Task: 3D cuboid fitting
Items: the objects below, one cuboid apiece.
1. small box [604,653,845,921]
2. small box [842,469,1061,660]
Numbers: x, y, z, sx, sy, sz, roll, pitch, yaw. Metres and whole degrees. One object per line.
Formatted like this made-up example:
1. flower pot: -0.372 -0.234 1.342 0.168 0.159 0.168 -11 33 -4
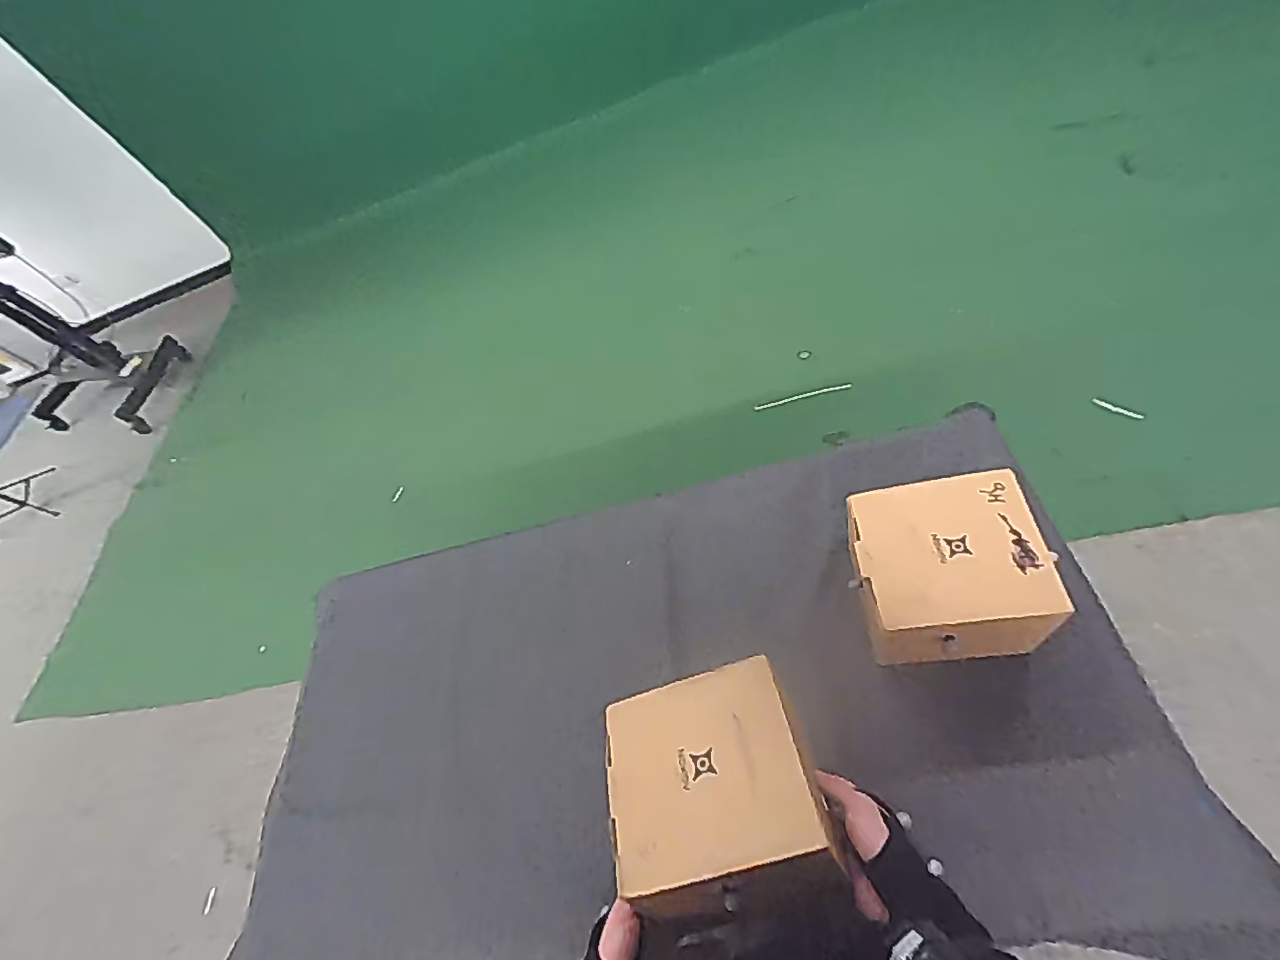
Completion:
1. small box: 0.080 0.305 0.532 0.179 0.176 0.168 -21 41 8
2. small box: 0.352 0.111 0.648 0.179 0.176 0.168 -11 58 16
